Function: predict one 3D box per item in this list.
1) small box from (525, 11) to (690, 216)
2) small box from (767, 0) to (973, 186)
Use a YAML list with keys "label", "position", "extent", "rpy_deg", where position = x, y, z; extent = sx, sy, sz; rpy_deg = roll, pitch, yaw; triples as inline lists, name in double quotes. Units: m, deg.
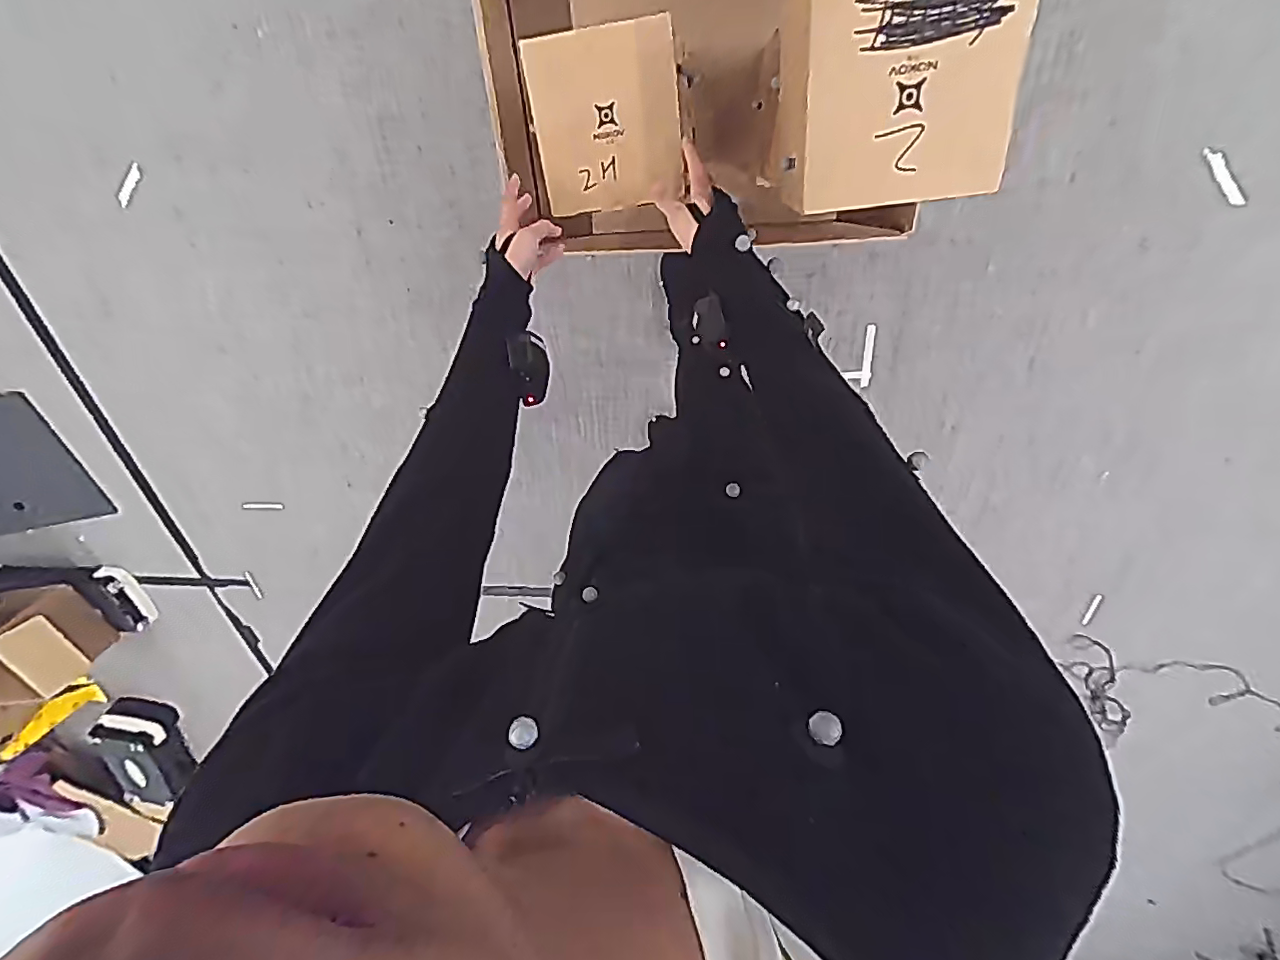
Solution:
- label: "small box"
  position: [-0.027, -0.442, 0.672]
  extent: [0.168, 0.176, 0.179]
  rpy_deg: [-4, 122, 8]
- label: "small box"
  position: [0.249, -0.449, 0.635]
  extent: [0.168, 0.176, 0.179]
  rpy_deg: [2, 122, 4]
